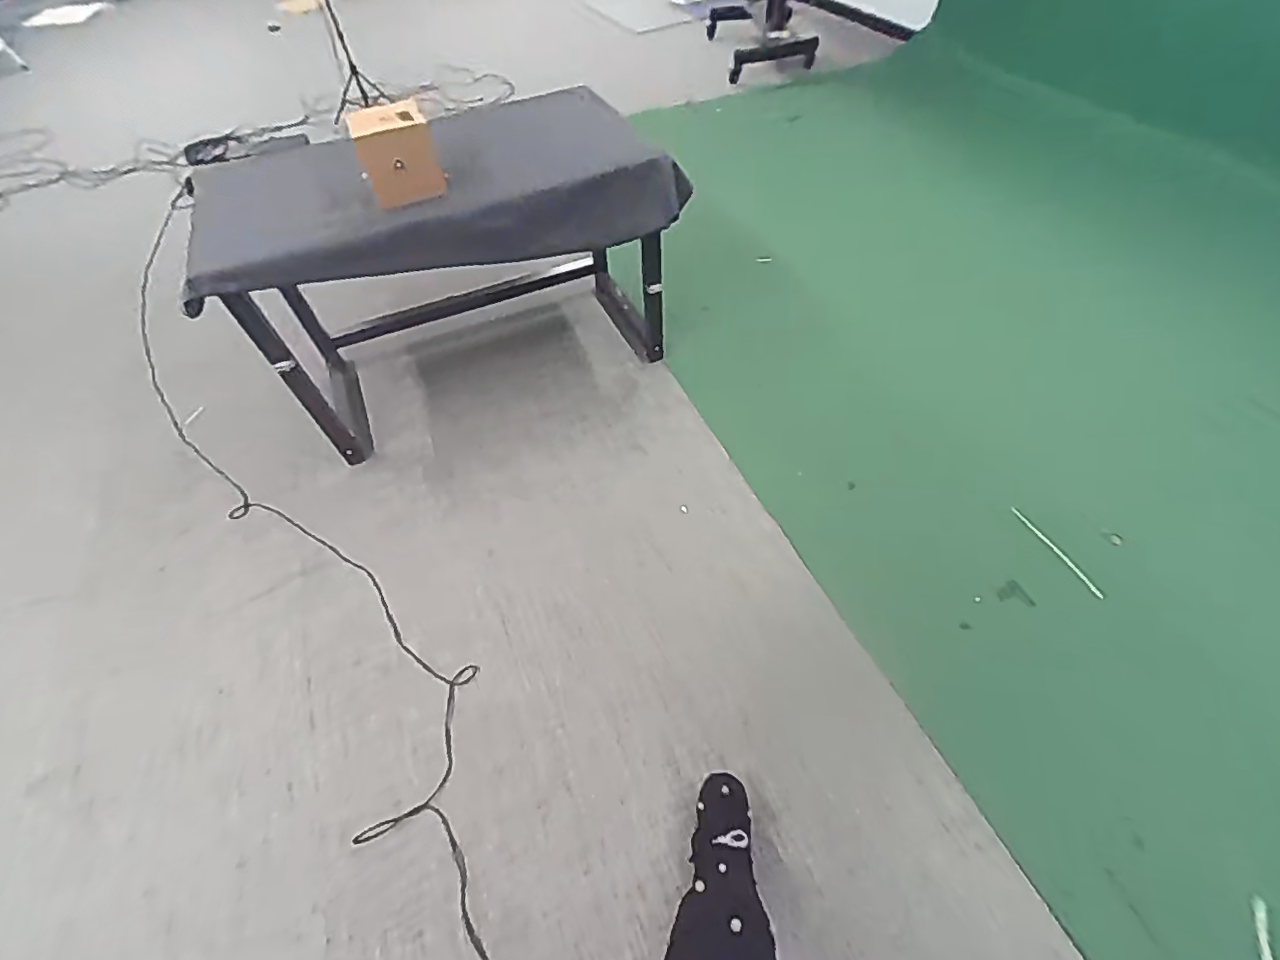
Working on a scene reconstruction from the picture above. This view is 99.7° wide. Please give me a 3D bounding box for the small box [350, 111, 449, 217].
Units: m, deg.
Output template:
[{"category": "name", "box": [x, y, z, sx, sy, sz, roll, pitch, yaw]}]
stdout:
[{"category": "small box", "box": [-0.602, -0.802, 1.374, 0.179, 0.176, 0.168, -23, 55, -15]}]
